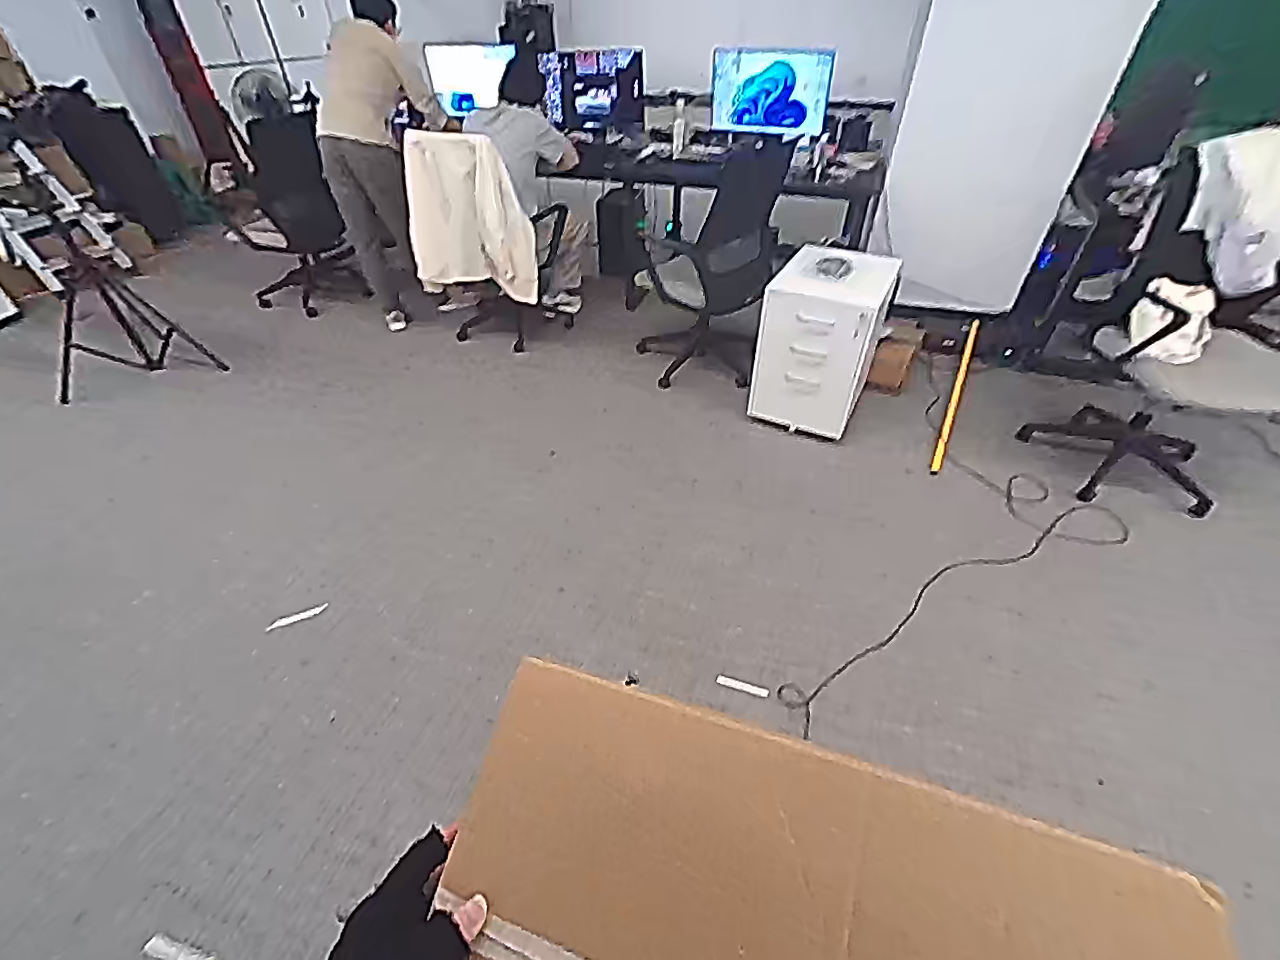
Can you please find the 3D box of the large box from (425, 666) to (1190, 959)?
[{"bbox_3d":[0.090,0.370,0.425,0.408,0.320,0.320,11,70,19],"label":"large box"}]
